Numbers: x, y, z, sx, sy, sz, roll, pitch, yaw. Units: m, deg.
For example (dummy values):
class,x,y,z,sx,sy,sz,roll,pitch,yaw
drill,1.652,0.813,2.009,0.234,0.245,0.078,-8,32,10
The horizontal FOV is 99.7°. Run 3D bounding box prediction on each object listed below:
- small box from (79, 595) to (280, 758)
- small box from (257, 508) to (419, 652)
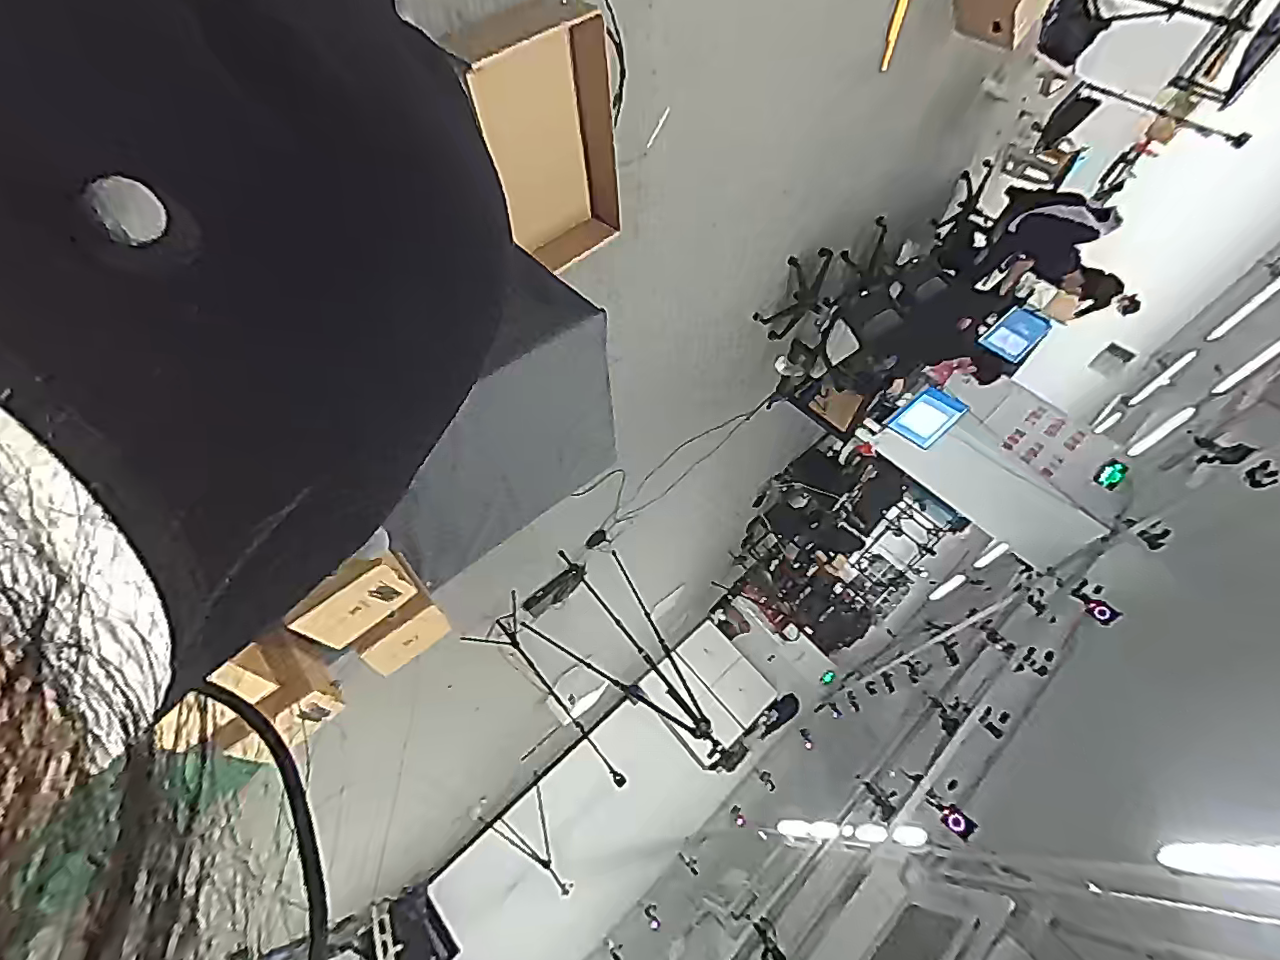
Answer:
class,x,y,z,sx,sy,sz,roll,pitch,yaw
small box,-0.746,0.319,0.888,0.168,0.176,0.179,-37,156,-25
small box,-0.553,0.182,1.002,0.179,0.176,0.168,-39,156,-19
